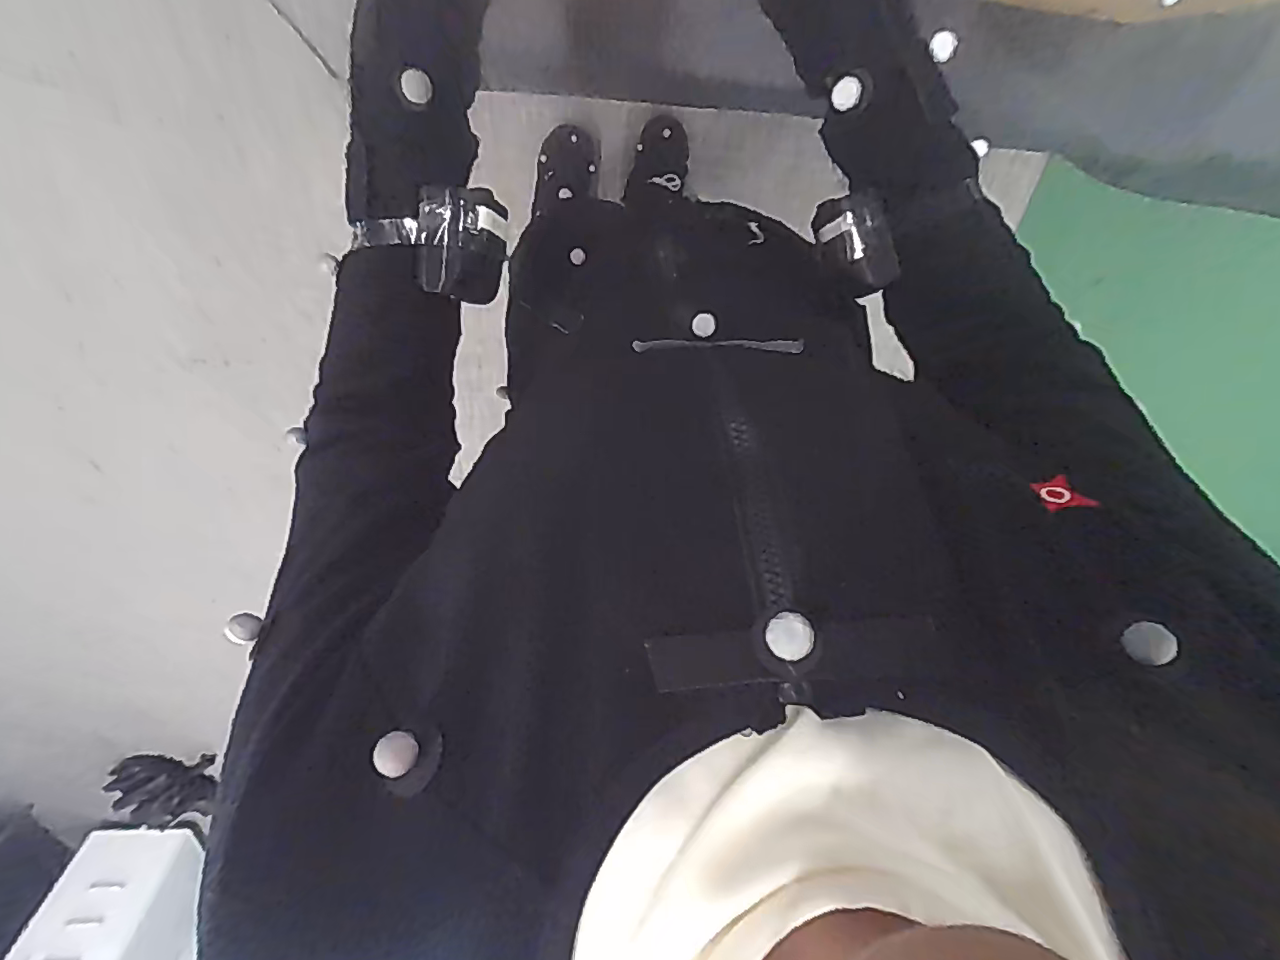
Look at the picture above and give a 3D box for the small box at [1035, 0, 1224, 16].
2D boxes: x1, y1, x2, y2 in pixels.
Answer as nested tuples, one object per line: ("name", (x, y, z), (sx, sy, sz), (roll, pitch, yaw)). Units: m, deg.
("small box", (0.382, -0.444, 0.360), (0.168, 0.176, 0.179), (2, 124, -6))
